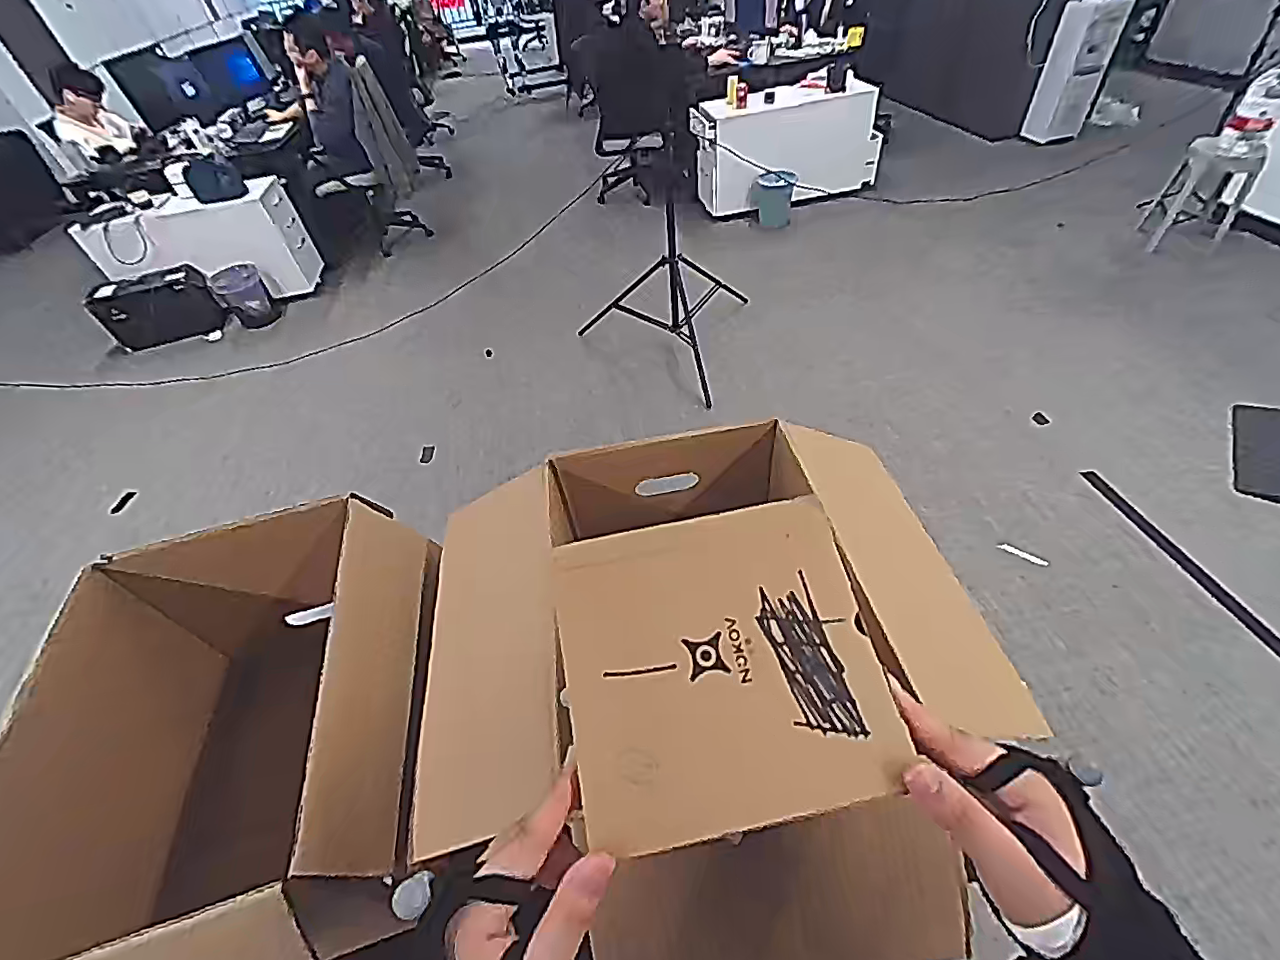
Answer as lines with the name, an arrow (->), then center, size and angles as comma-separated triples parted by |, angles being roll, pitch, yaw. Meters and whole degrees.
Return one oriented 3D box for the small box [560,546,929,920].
small box -> 0.050, 0.160, 0.373 | 0.179, 0.176, 0.168 | -11, 64, -4
